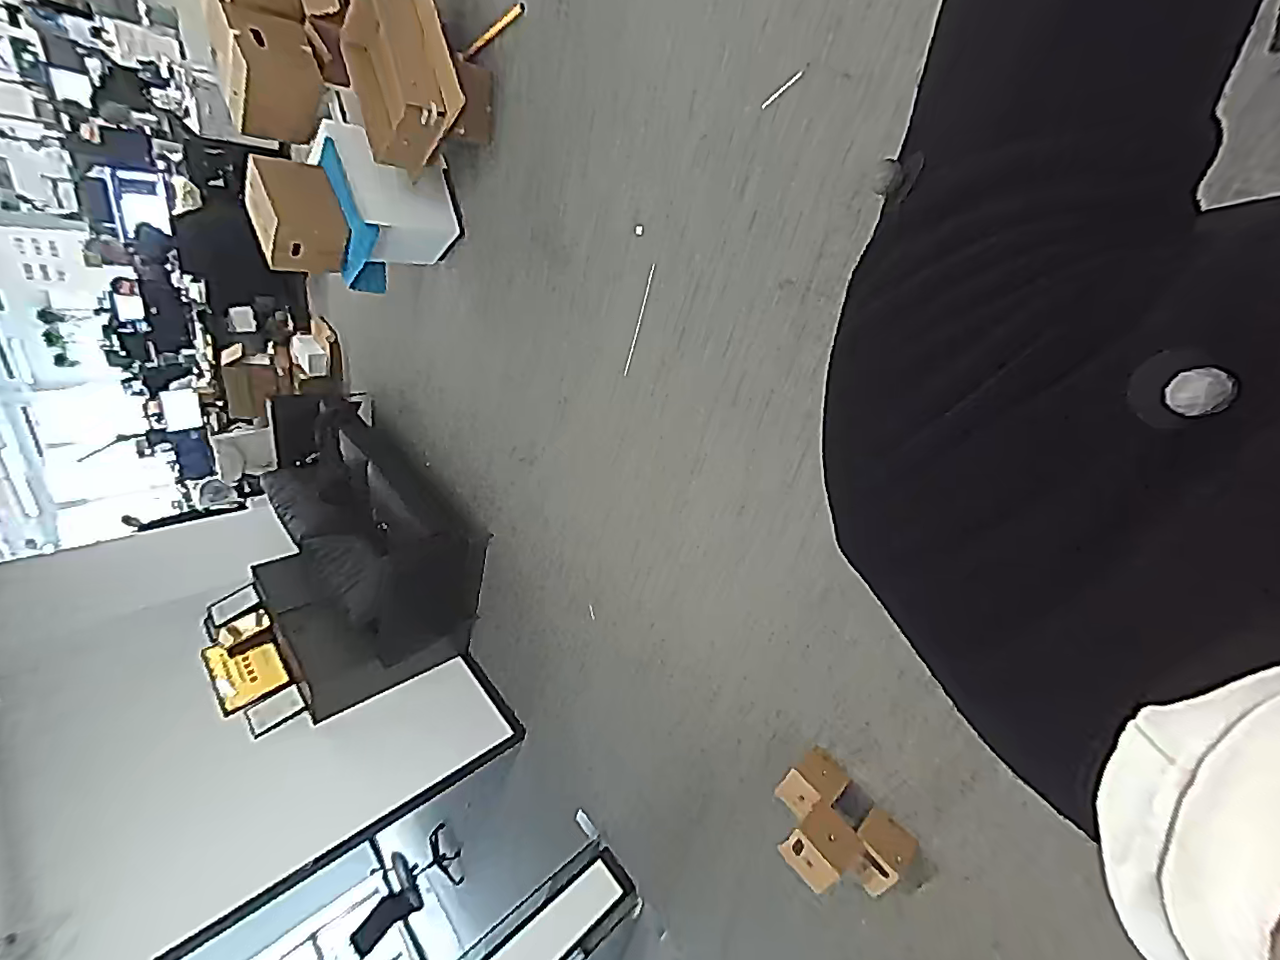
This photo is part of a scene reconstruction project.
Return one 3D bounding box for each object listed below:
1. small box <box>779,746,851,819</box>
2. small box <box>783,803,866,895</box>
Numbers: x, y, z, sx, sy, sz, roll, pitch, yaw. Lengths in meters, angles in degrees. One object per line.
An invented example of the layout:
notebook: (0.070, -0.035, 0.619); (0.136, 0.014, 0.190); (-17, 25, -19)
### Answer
small box: (0.656, 1.132, 2.004); (0.168, 0.176, 0.179); (40, 128, 31)
small box: (0.624, 1.235, 1.828); (0.179, 0.176, 0.168); (41, 129, 29)
